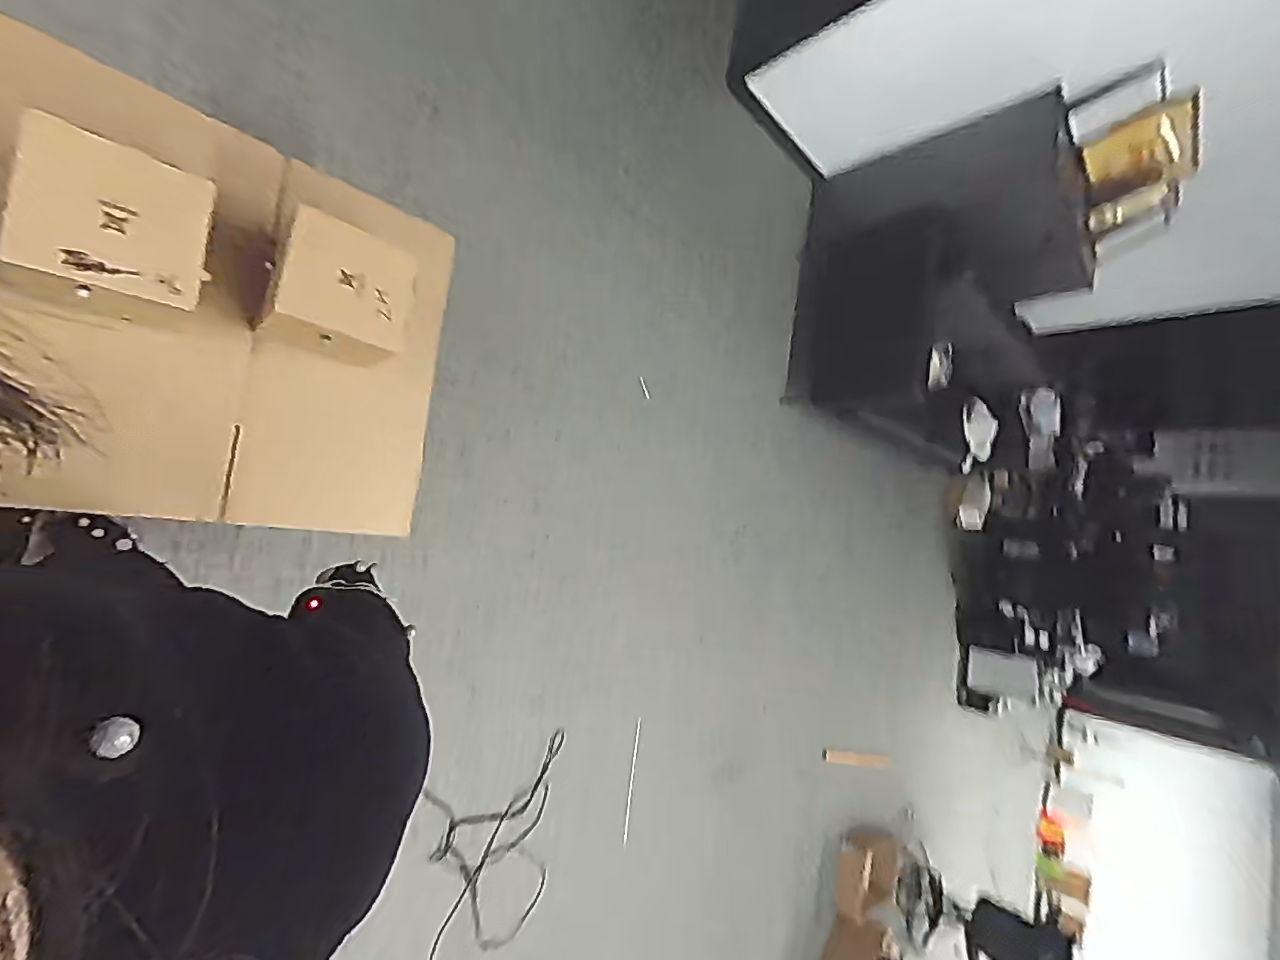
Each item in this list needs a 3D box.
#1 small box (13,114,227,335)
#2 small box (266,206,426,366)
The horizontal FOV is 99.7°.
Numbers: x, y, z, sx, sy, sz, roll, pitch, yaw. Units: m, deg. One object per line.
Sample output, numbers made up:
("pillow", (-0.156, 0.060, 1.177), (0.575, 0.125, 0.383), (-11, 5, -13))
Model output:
("small box", (-0.658, -0.307, 0.696), (0.168, 0.176, 0.179), (11, 83, -43))
("small box", (-0.477, -0.295, 0.872), (0.179, 0.176, 0.168), (16, 80, -42))
